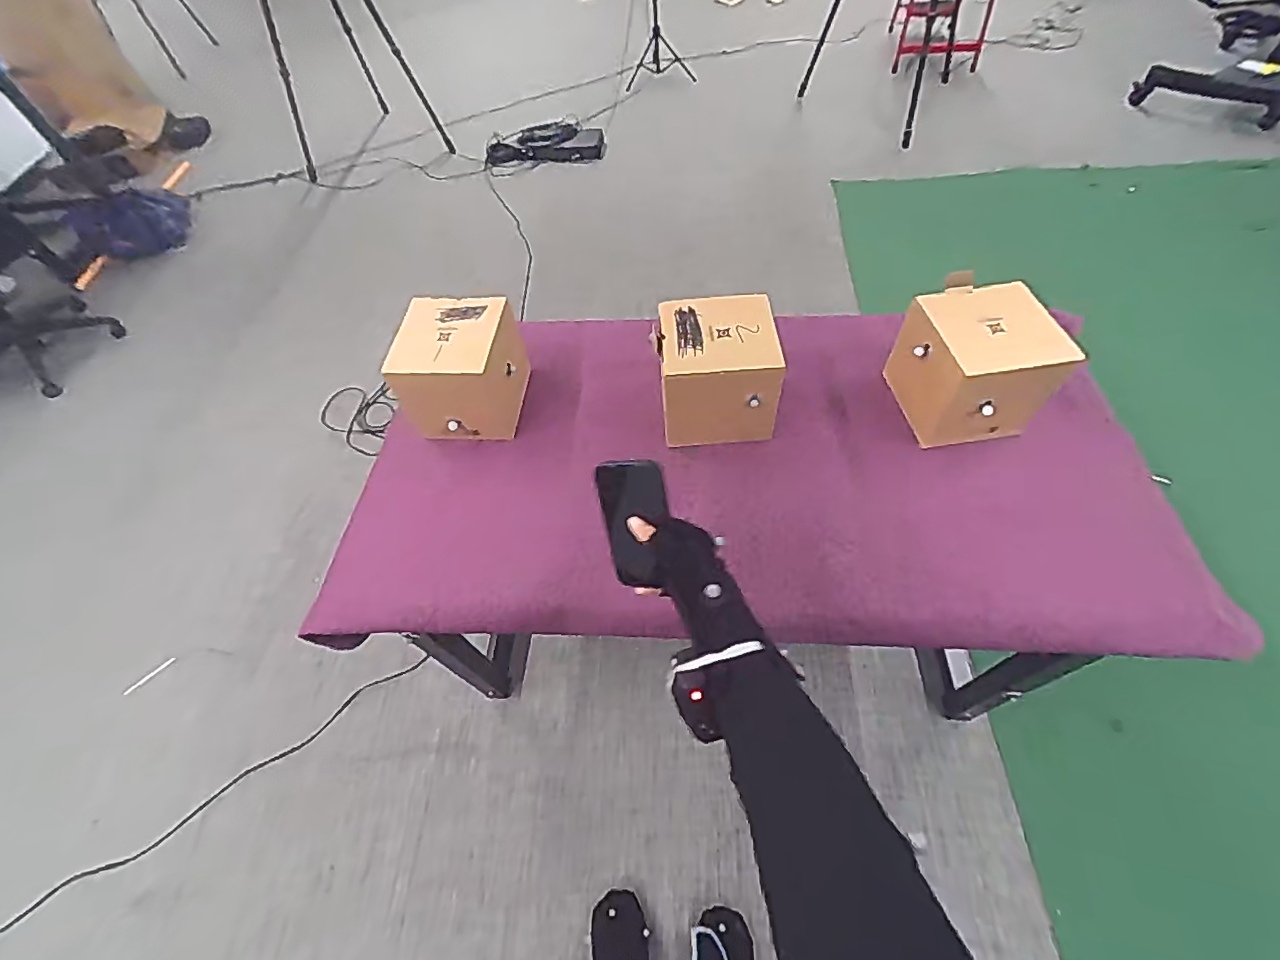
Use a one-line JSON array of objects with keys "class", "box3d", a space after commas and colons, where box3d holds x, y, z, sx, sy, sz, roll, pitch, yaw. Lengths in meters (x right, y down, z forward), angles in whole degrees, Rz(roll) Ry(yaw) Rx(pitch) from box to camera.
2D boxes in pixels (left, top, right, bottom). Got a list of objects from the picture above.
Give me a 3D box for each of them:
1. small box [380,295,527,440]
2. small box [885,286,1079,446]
[{"class": "small box", "box3d": [-0.300, -0.190, 0.917, 0.168, 0.176, 0.179, 2, 58, 6]}, {"class": "small box", "box3d": [0.510, -0.167, 0.839, 0.168, 0.176, 0.179, -8, 55, 0]}]
